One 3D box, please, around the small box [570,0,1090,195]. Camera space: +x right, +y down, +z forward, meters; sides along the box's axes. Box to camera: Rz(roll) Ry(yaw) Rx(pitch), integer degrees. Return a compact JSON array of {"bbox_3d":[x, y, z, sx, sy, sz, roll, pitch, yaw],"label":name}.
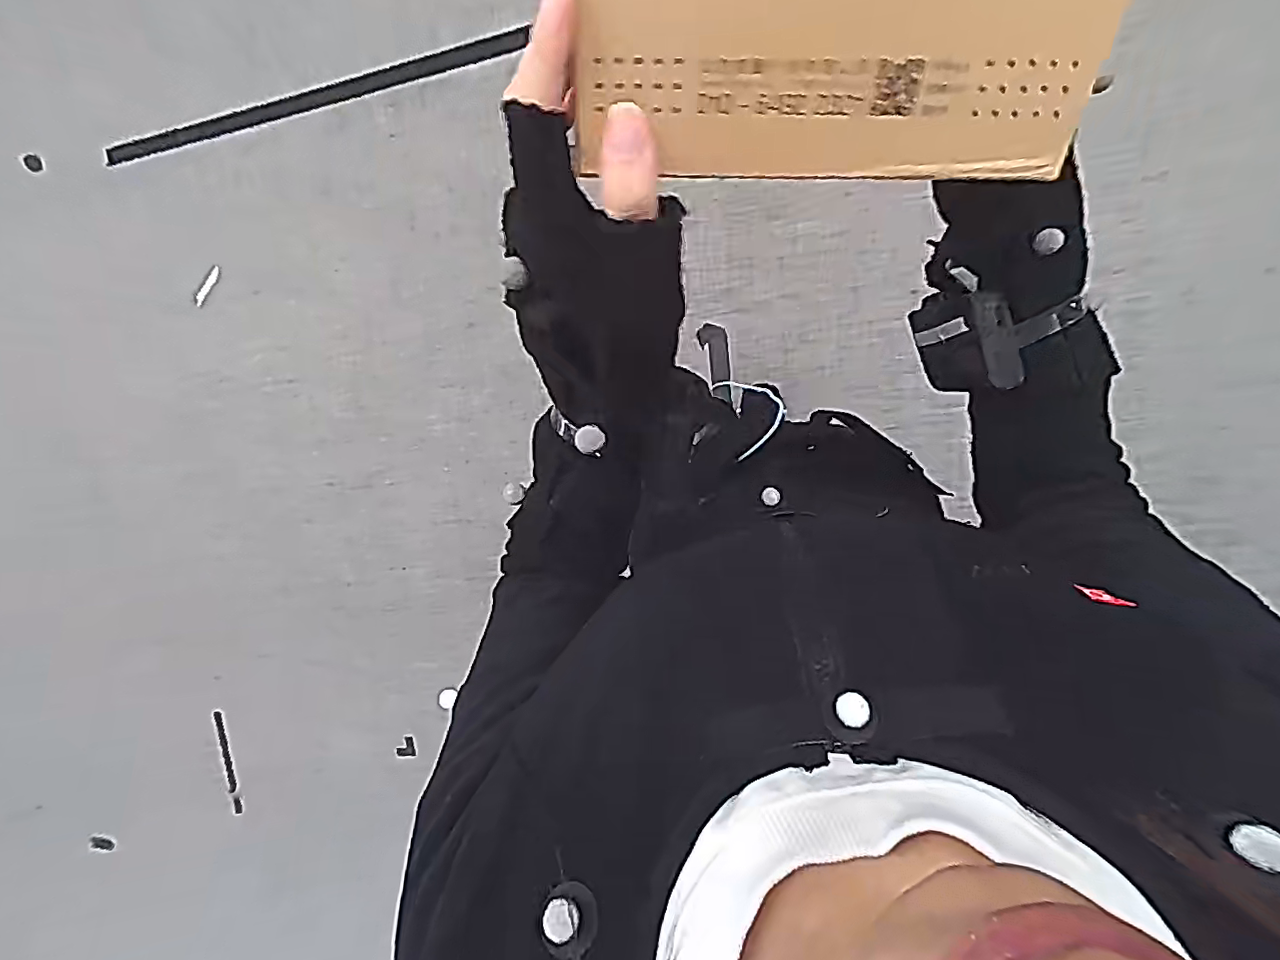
[{"bbox_3d":[0.065,-0.218,0.214,0.168,0.179,0.176,4,126,5],"label":"small box"}]
